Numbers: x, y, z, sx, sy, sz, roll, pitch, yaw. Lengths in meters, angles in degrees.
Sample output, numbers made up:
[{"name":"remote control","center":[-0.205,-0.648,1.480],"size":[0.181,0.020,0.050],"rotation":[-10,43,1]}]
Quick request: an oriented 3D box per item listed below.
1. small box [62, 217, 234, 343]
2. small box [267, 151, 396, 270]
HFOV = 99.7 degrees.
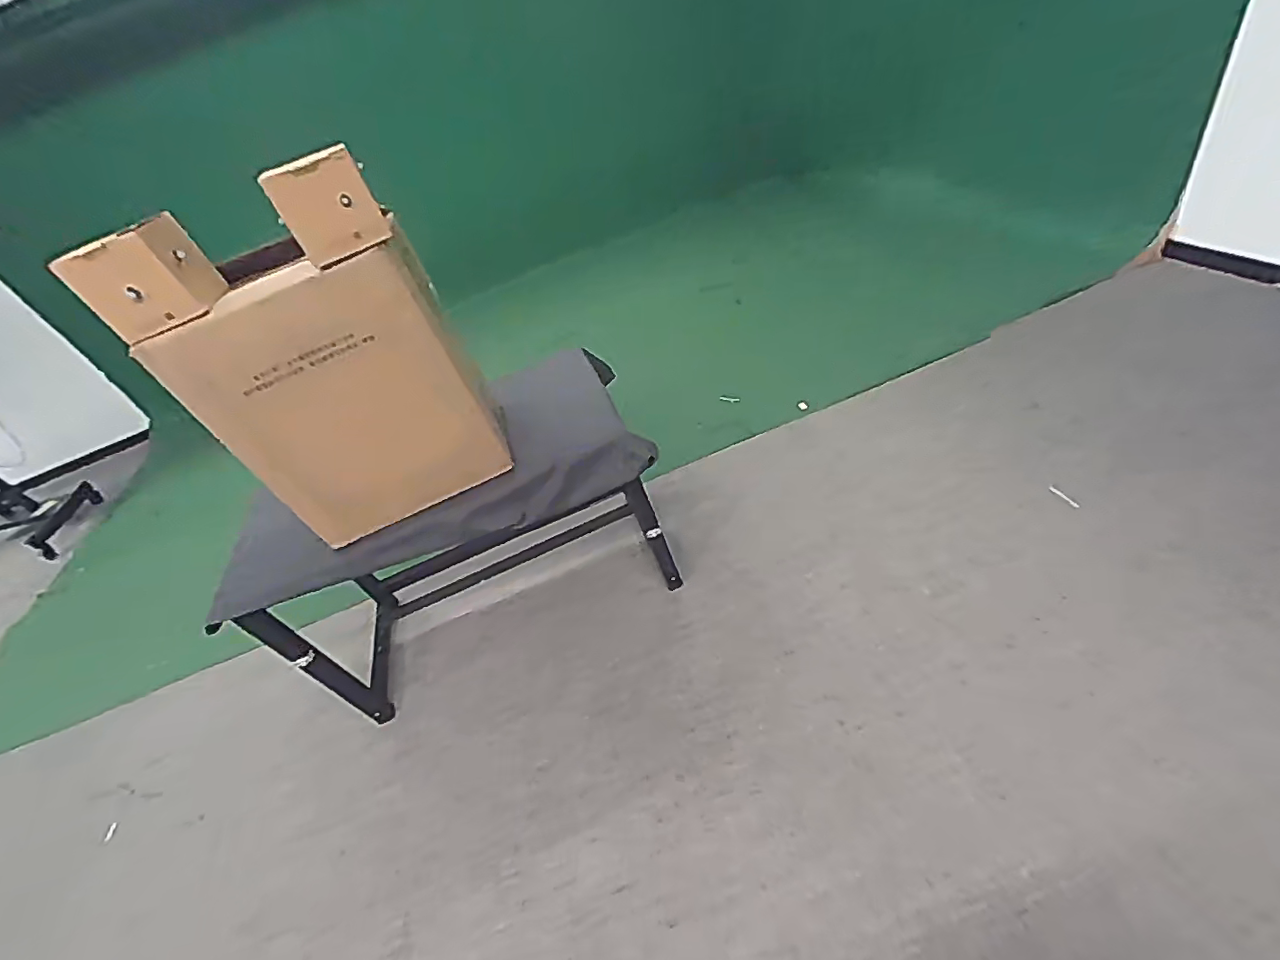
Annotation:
[{"name":"small box","center":[-0.975,-0.400,1.095],"size":[0.168,0.176,0.179],"rotation":[-24,40,-2]},{"name":"small box","center":[-0.621,-0.550,1.107],"size":[0.168,0.176,0.179],"rotation":[-28,39,-11]}]
